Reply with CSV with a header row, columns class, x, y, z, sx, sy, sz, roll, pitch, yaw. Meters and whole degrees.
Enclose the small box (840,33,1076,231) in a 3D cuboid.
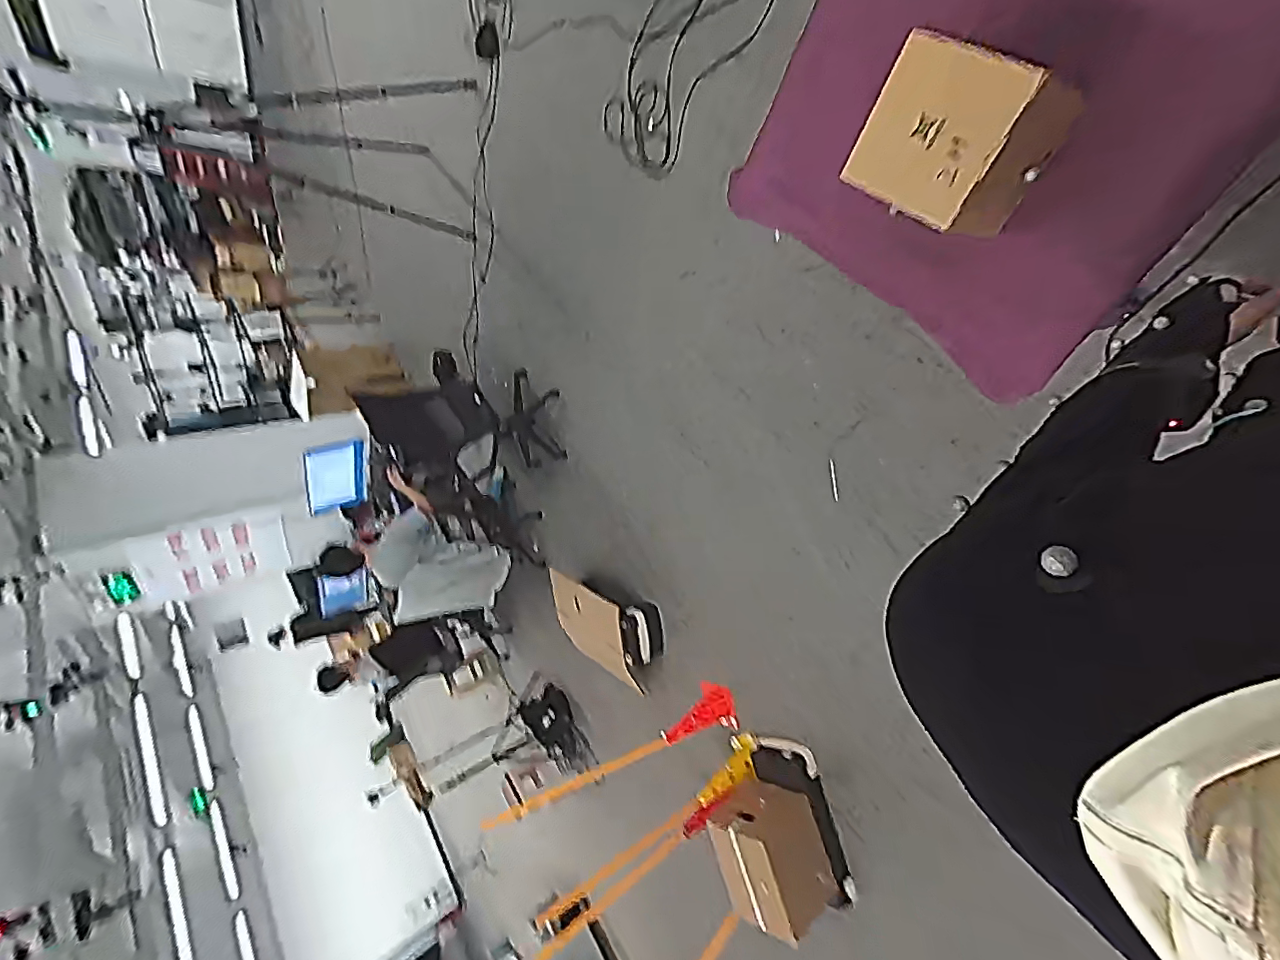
class,x,y,z,sx,sy,sz,roll,pitch,yaw
small box,0.409,-0.440,0.706,0.179,0.176,0.168,49,137,28
